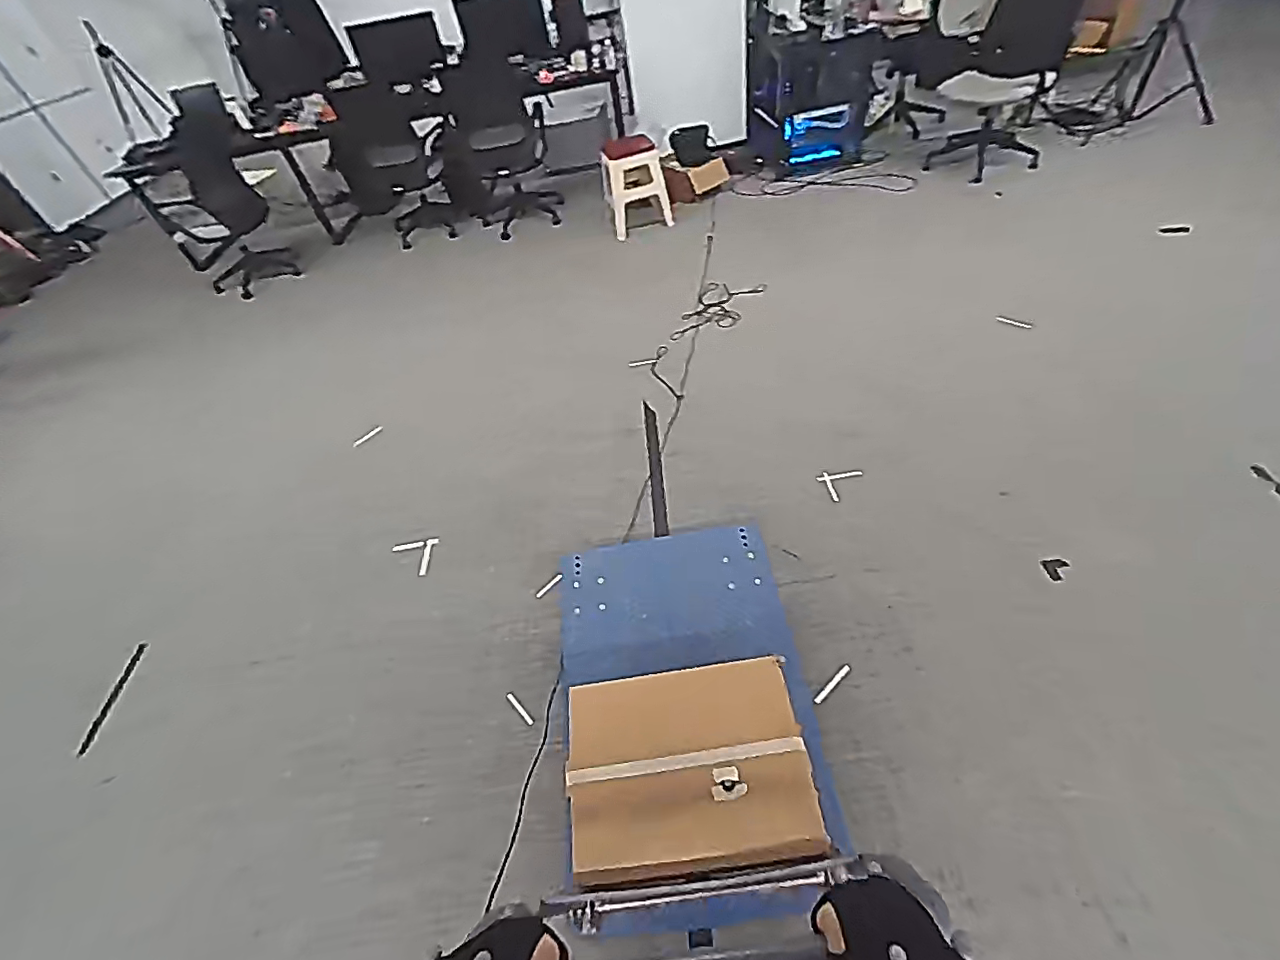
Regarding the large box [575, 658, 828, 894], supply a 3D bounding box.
[{"bbox_3d":[0.104,0.585,1.059,0.408,0.320,0.320,-10,51,2],"label":"large box"}]
